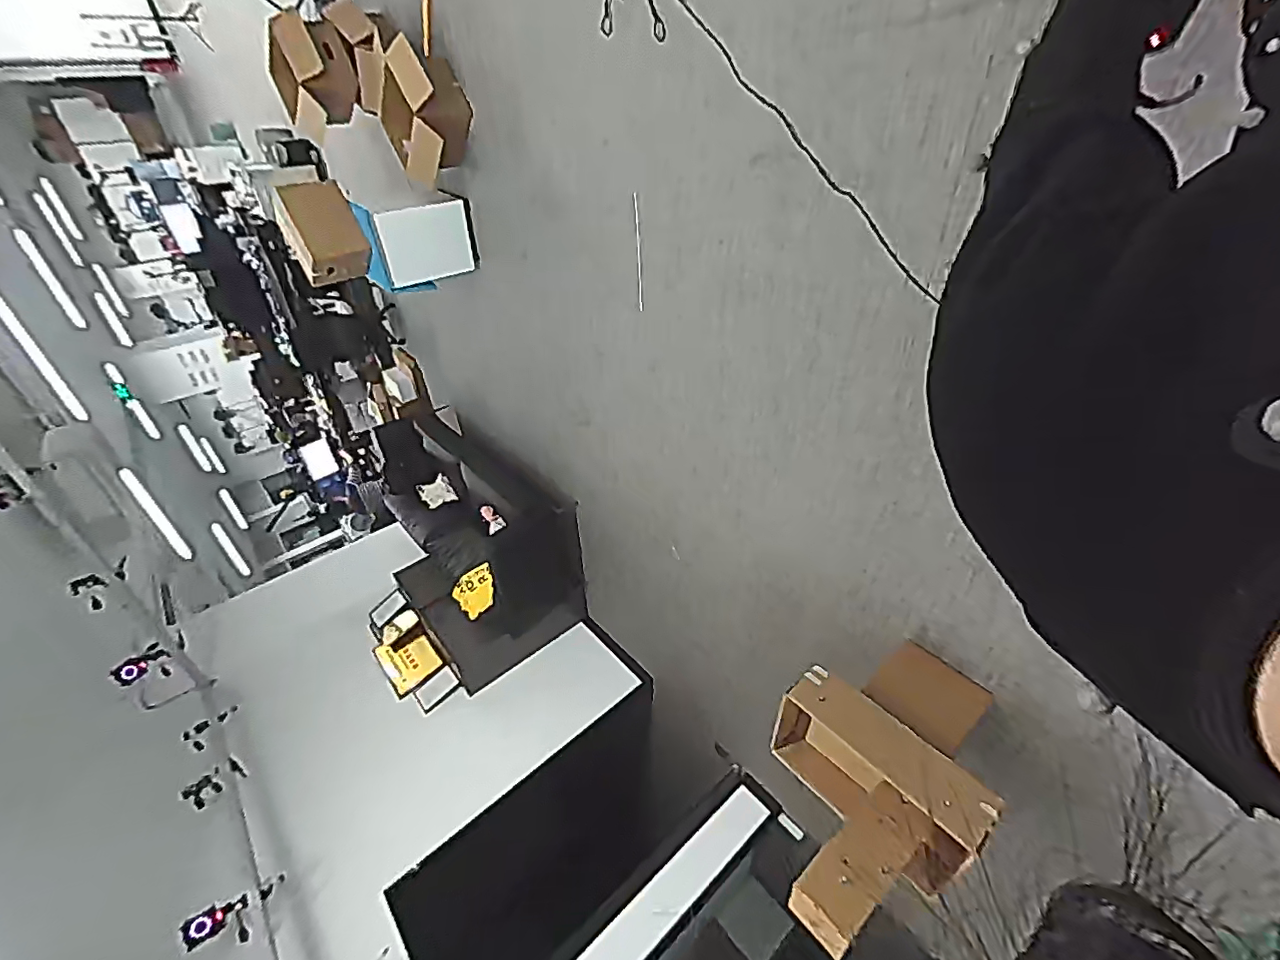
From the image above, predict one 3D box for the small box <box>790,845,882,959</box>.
[{"bbox_3d":[0.538,1.161,1.486,0.168,0.176,0.179,32,139,39],"label":"small box"}]
